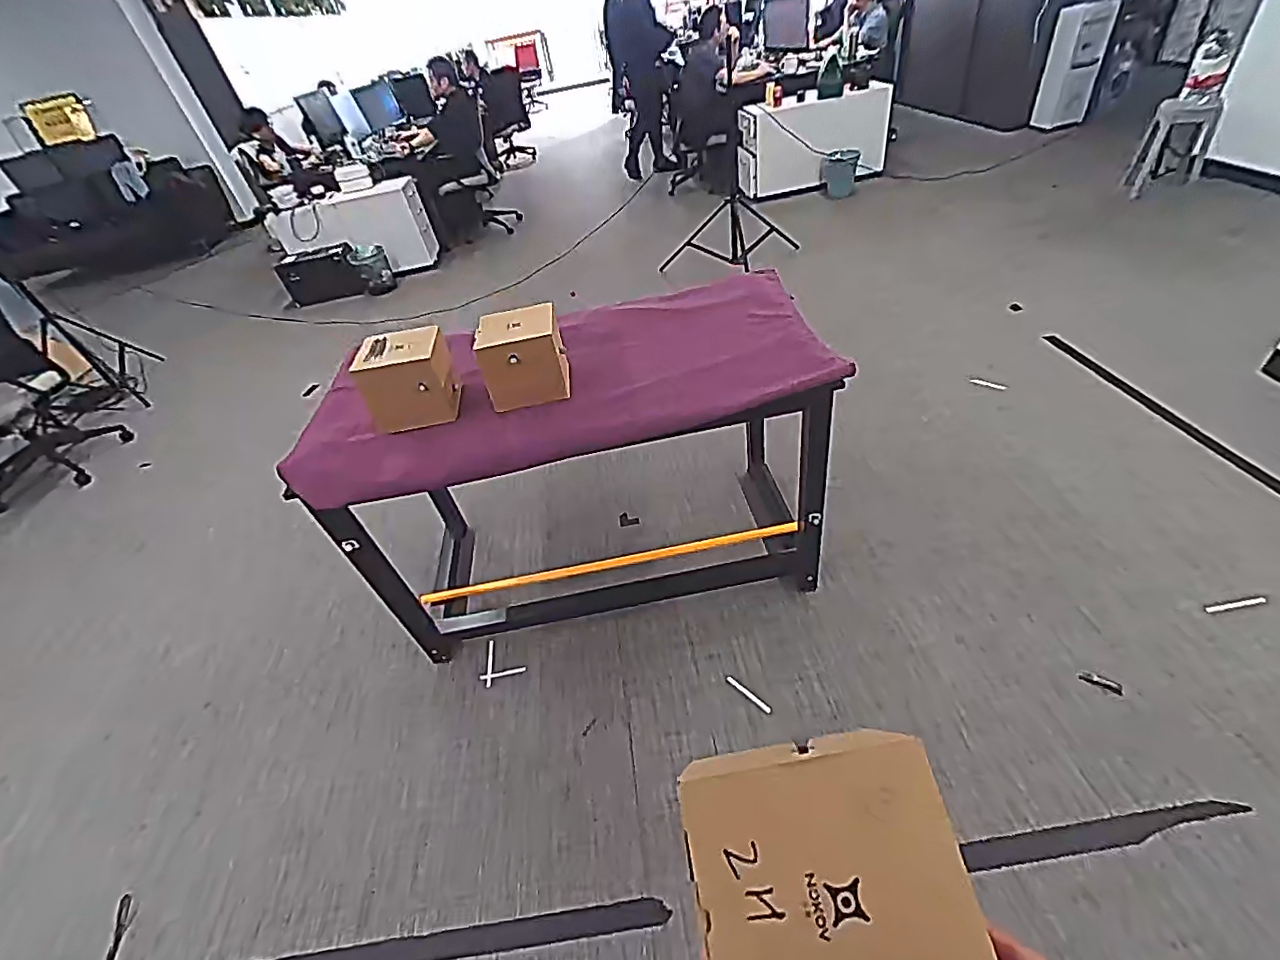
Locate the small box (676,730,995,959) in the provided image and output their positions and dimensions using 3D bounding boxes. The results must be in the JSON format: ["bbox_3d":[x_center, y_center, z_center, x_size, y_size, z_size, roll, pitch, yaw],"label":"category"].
[{"bbox_3d":[0.133,0.297,0.418,0.179,0.176,0.168,-13,65,5],"label":"small box"}]

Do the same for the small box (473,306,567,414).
[{"bbox_3d":[-0.268,-0.277,1.255,0.179,0.176,0.168,-12,41,0],"label":"small box"}]
